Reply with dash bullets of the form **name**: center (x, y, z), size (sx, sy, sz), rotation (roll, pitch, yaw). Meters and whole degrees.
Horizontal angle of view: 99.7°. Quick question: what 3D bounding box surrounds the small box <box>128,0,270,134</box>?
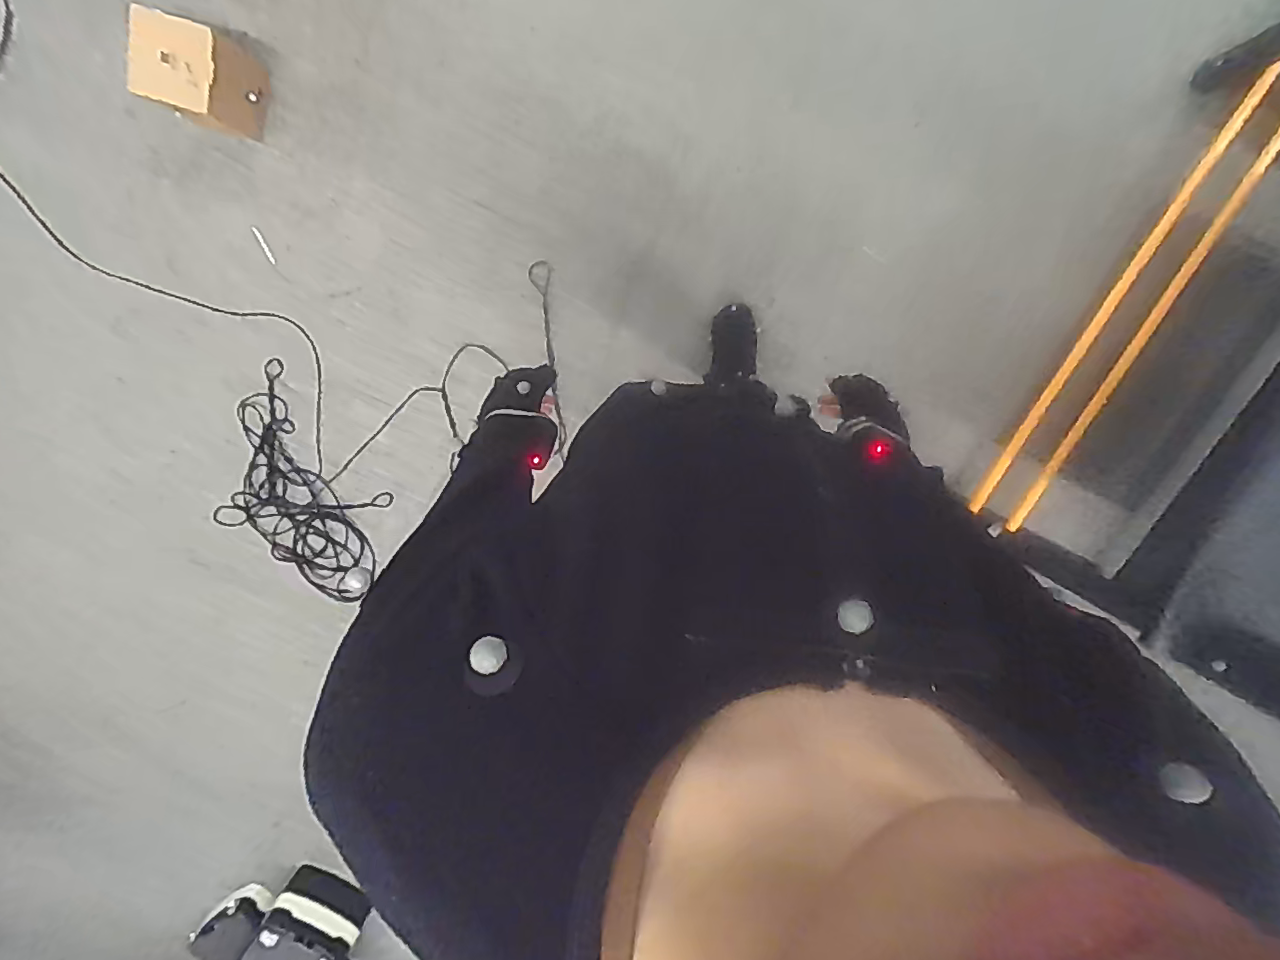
- **small box**: center (-0.975, -0.907, 1.204), size (0.179, 0.176, 0.168), rotation (16, 104, -3)
